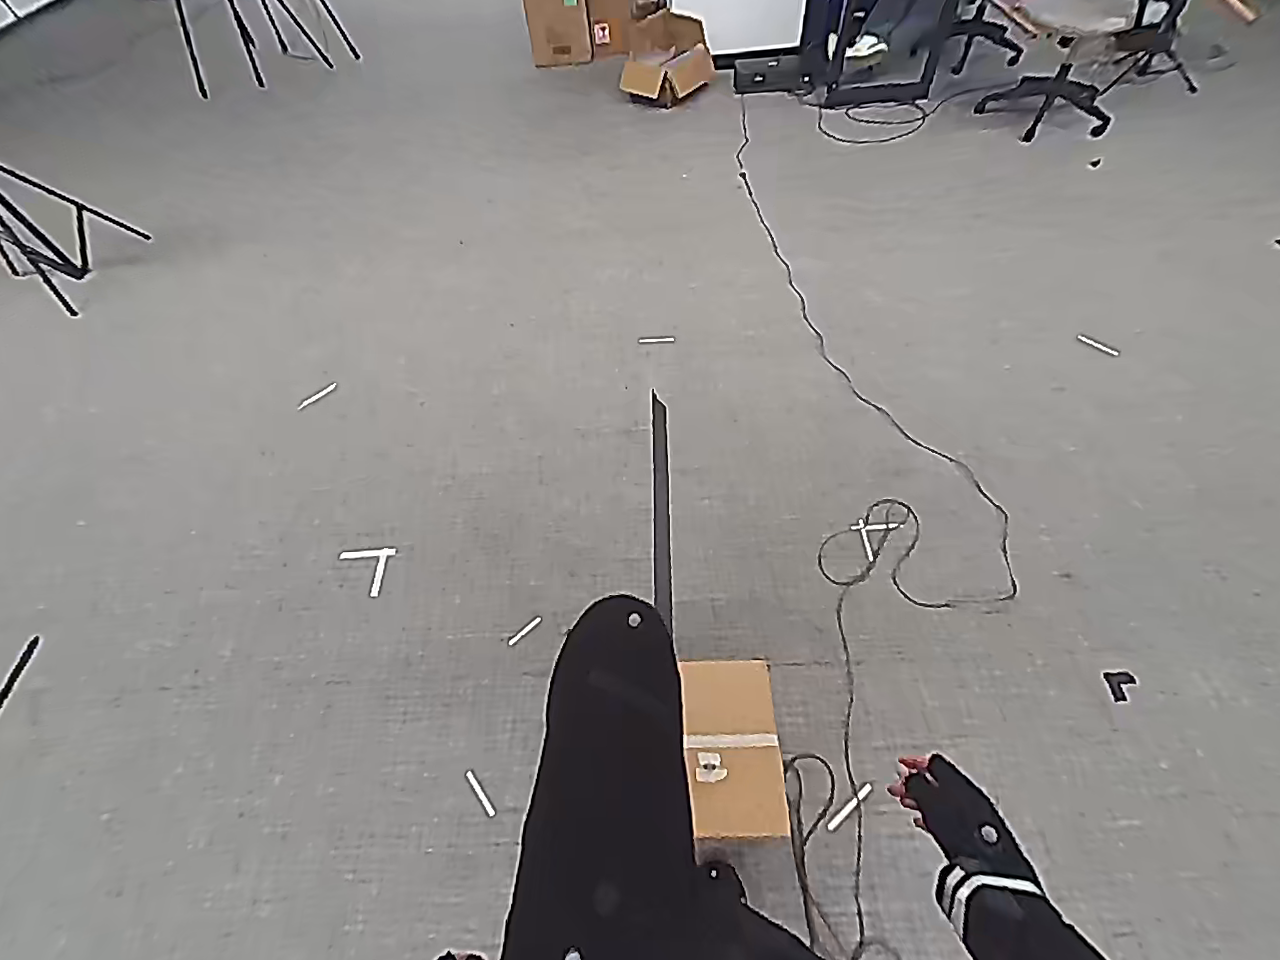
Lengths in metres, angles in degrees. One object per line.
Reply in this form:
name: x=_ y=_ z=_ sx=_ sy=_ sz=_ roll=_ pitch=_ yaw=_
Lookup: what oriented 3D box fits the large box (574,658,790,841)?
large box: x=0.080 y=0.600 z=1.190 sx=0.408 sy=0.320 sz=0.320 roll=-2 pitch=55 yaw=3
